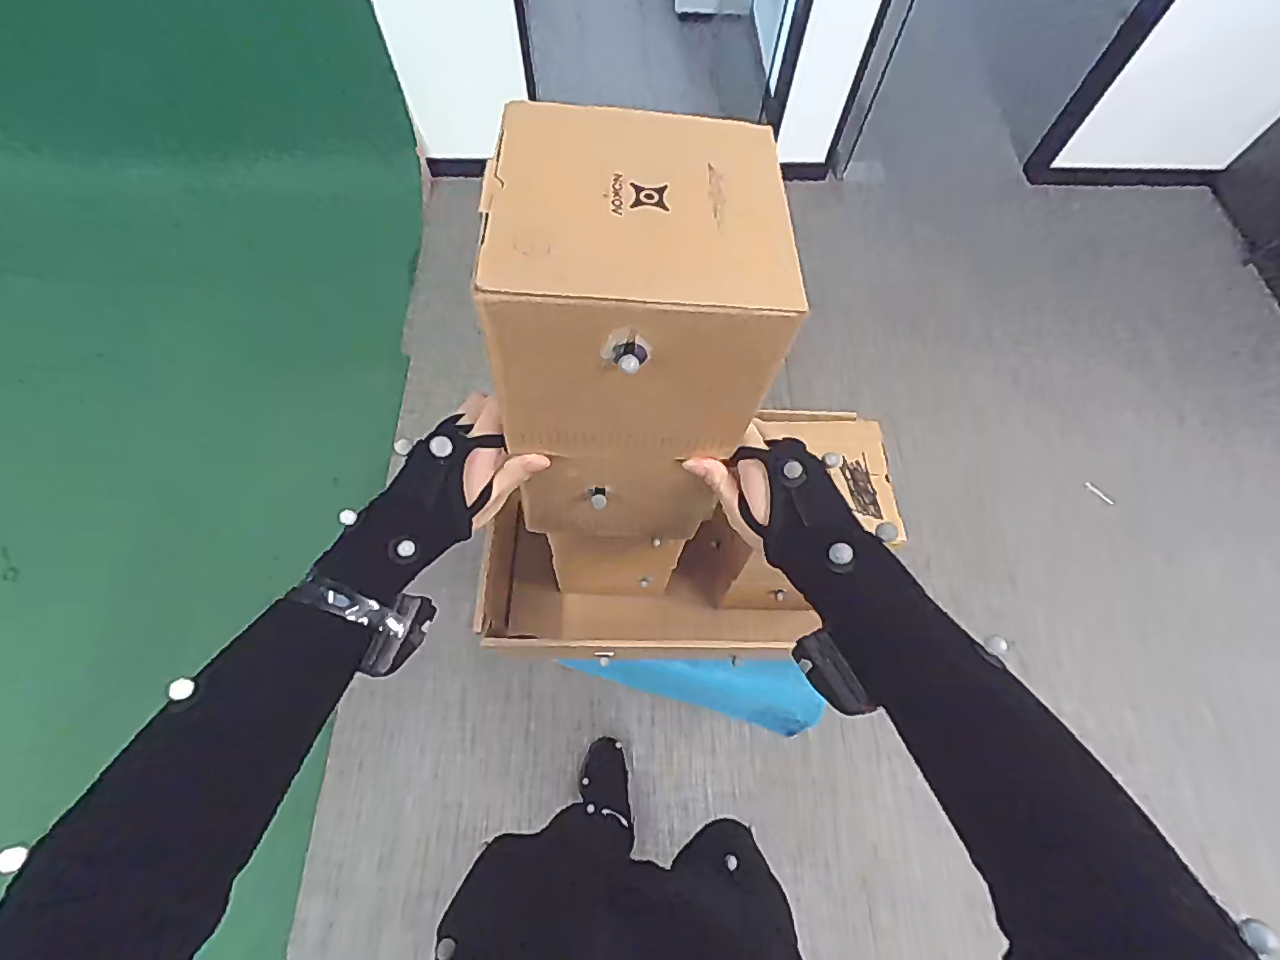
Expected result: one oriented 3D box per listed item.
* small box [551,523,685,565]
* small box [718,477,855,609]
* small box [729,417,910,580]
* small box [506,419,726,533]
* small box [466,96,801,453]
[{"bbox_3d":[-0.029,0.011,0.726,0.179,0.176,0.168,2,63,-4],"label":"small box"},{"bbox_3d":[0.219,0.106,0.865,0.179,0.176,0.168,1,64,0],"label":"small box"},{"bbox_3d":[0.221,0.031,0.719,0.179,0.176,0.168,0,63,0],"label":"small box"},{"bbox_3d":[-0.020,-0.057,0.528,0.179,0.176,0.168,4,62,-3],"label":"small box"},{"bbox_3d":[-0.007,-0.131,0.382,0.179,0.176,0.168,3,62,-4],"label":"small box"}]
